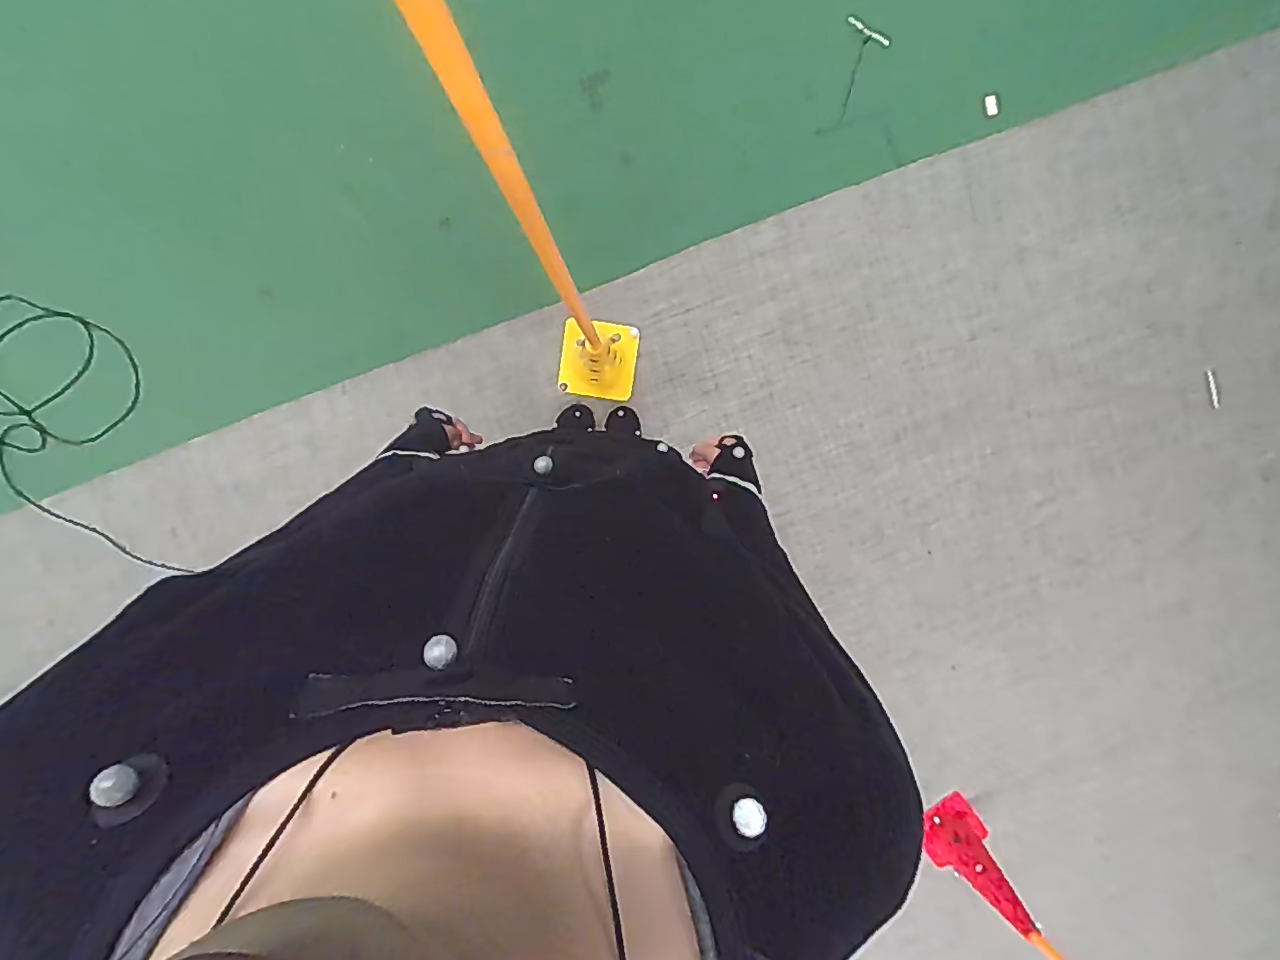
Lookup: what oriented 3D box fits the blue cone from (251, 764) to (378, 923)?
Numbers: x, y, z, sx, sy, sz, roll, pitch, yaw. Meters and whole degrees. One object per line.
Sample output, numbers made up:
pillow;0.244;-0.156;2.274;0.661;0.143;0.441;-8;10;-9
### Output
blue cone;-0.847;0.939;1.382;0.192;0.380;0.193;24;97;-7
